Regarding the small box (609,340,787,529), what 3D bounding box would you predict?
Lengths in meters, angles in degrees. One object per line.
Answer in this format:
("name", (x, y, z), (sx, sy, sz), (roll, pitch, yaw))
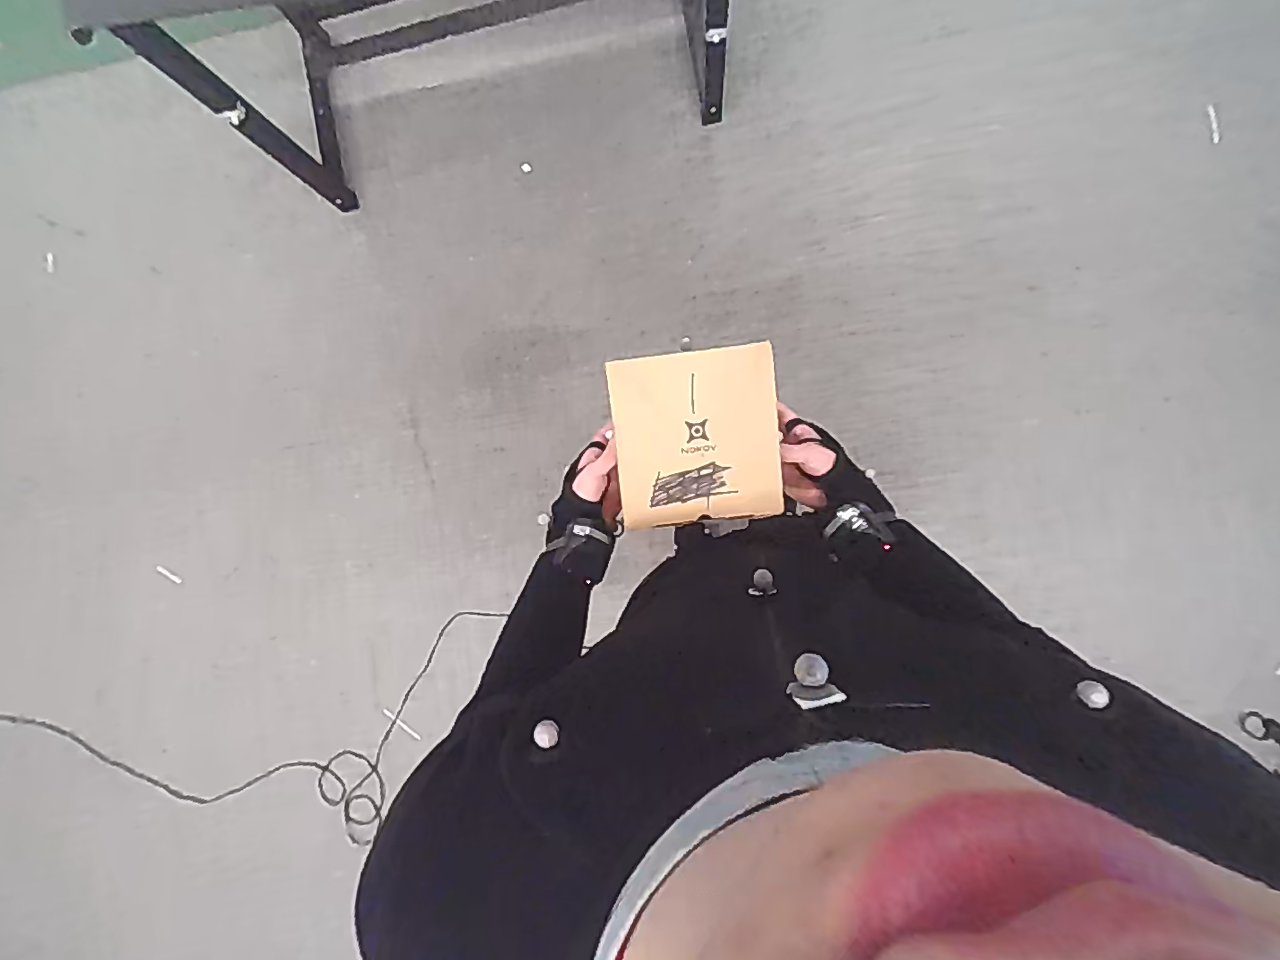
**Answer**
("small box", (0.062, -0.058, 0.619), (0.168, 0.176, 0.179), (-8, 101, 2))
